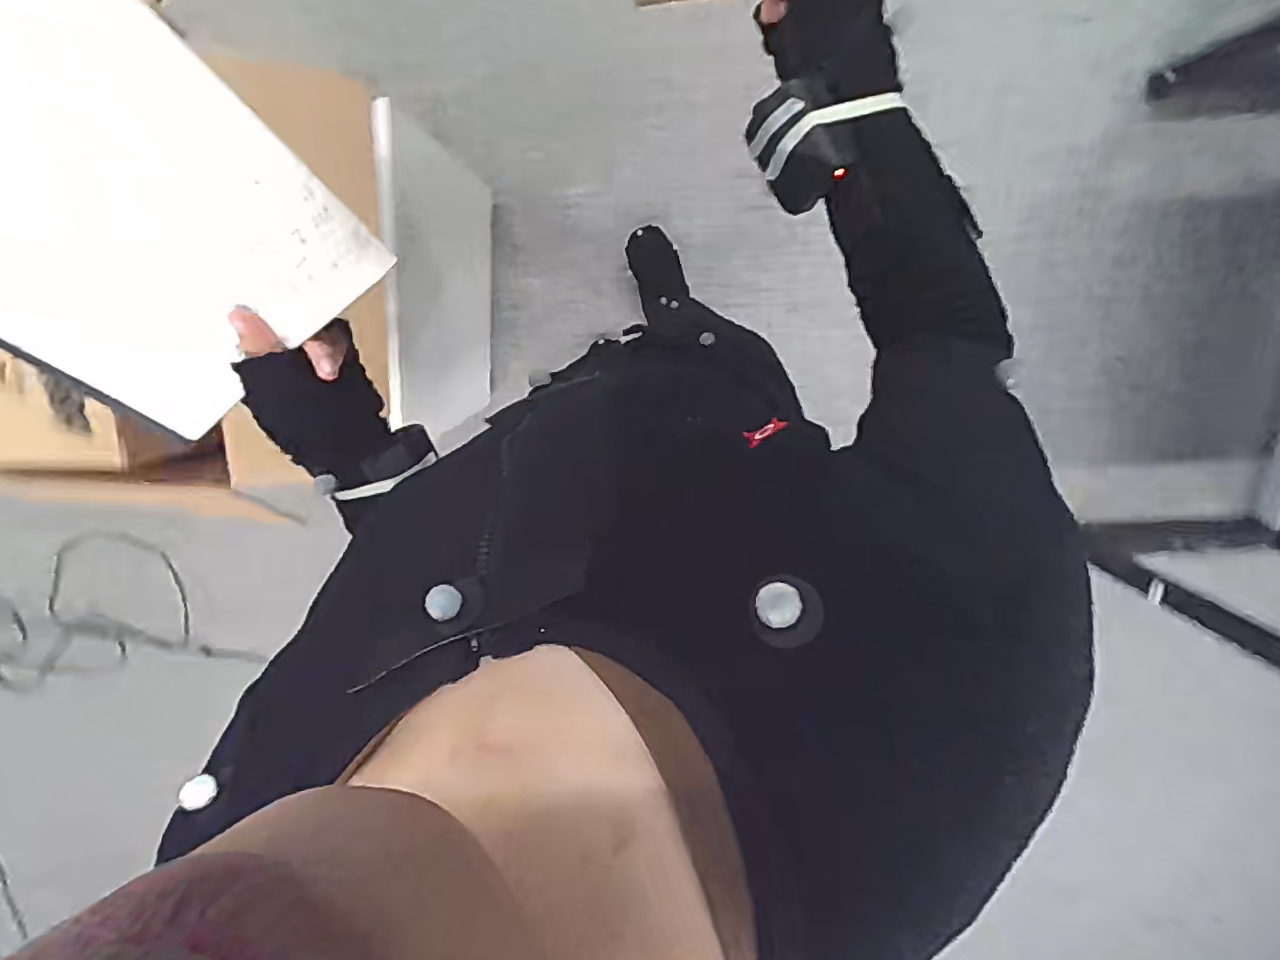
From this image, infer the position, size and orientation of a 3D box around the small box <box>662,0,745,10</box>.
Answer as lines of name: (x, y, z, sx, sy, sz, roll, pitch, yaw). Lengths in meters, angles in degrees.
small box: (0.088, -0.461, 0.362, 0.168, 0.176, 0.179, -11, 117, -4)
